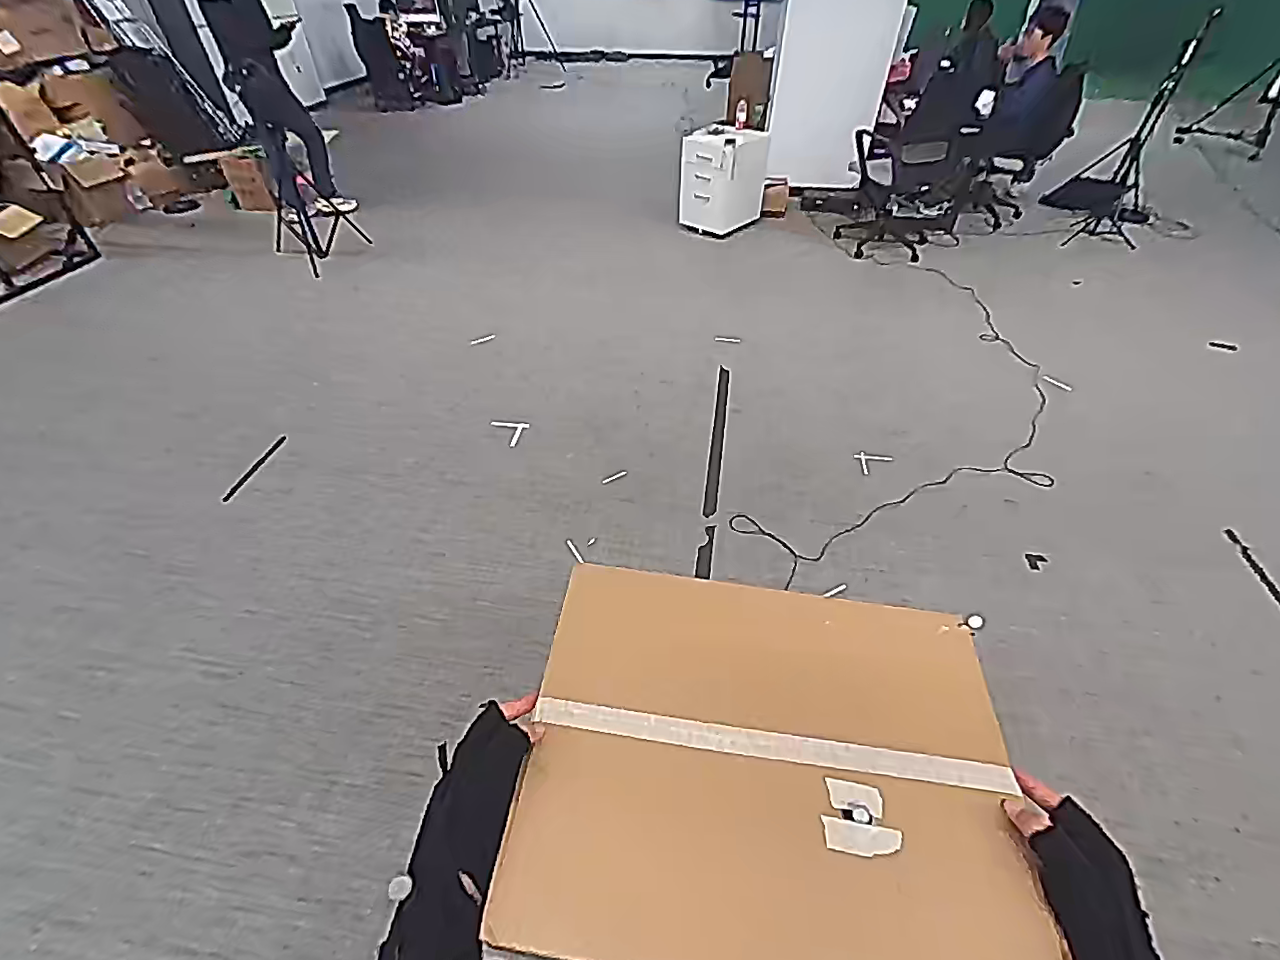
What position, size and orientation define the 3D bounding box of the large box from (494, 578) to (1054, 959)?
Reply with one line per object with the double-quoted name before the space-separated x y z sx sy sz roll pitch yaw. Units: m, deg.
"large box" 0.102 0.338 0.573 0.408 0.320 0.320 8 48 3
